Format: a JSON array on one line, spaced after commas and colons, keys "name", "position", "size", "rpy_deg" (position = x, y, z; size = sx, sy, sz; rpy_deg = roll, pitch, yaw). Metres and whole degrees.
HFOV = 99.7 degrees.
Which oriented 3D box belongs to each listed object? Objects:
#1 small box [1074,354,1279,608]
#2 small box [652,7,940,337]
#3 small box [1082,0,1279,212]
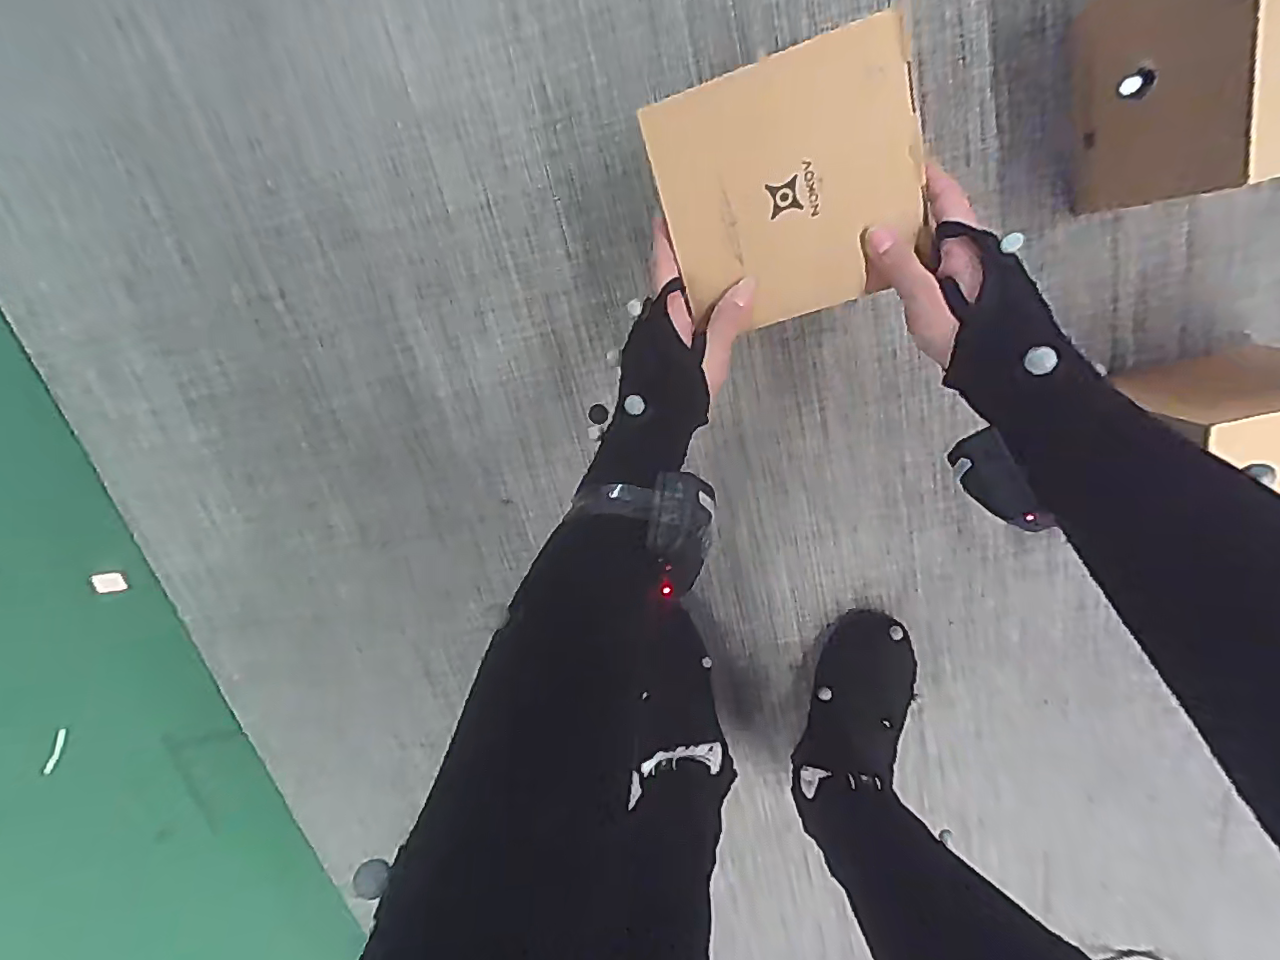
[{"name": "small box", "position": [0.537, -0.010, 0.492], "size": [0.179, 0.176, 0.168], "rpy_deg": [-13, 107, 8]}, {"name": "small box", "position": [0.117, -0.231, 0.447], "size": [0.179, 0.176, 0.168], "rpy_deg": [-13, 109, 11]}, {"name": "small box", "position": [0.465, -0.311, 0.392], "size": [0.179, 0.176, 0.168], "rpy_deg": [-13, 108, 9]}]
